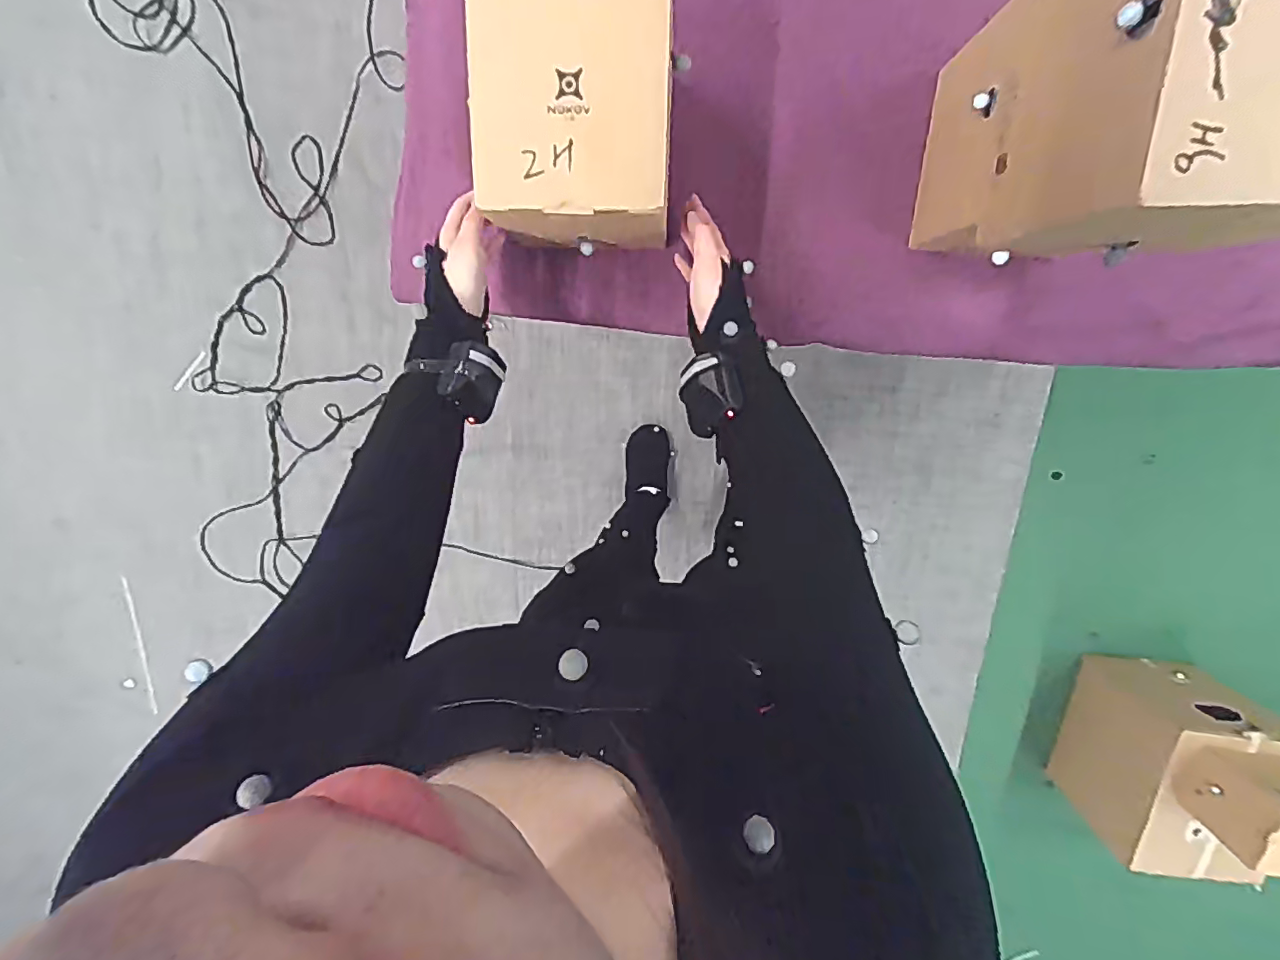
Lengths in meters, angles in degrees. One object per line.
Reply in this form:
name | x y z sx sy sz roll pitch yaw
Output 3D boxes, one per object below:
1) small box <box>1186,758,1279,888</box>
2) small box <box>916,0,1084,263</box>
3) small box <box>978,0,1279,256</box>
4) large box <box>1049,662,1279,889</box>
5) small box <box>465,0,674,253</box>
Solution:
small box | 1.323 0.713 1.125 0.179 0.176 0.168 7 105 3
small box | 0.379 -0.309 0.493 0.168 0.176 0.179 5 105 3
small box | 0.360 -0.243 0.342 0.179 0.176 0.168 2 105 3
large box | 1.345 0.731 1.380 0.320 0.320 0.408 5 105 3
small box | -0.056 -0.327 0.512 0.168 0.176 0.179 3 103 3
